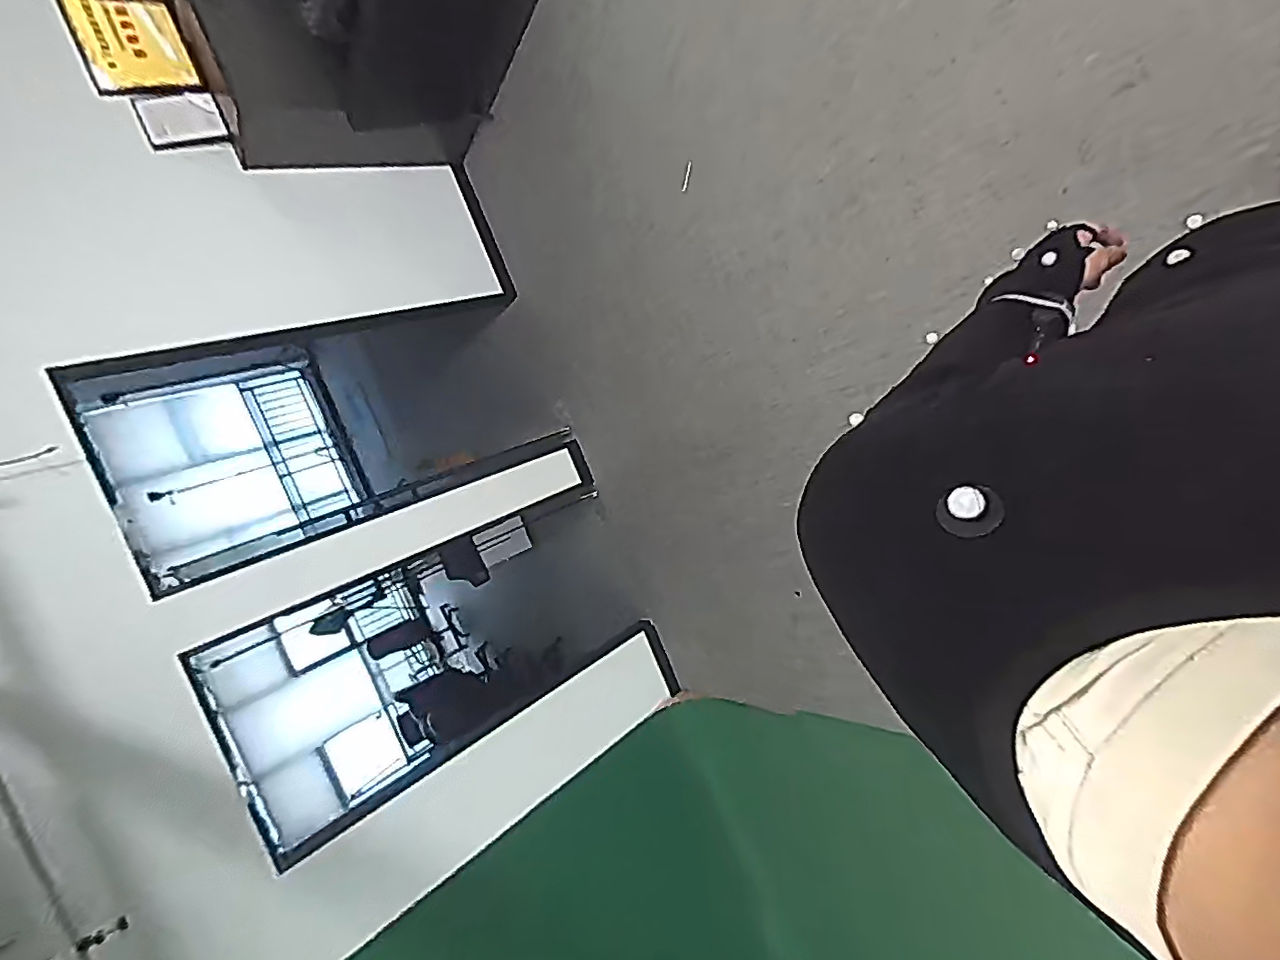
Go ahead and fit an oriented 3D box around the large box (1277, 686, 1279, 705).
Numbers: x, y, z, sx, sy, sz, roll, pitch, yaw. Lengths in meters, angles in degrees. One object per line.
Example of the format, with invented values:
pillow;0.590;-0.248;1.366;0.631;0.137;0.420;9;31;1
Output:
large box;1.315;0.432;0.836;0.320;0.320;0.408;-30;85;56
